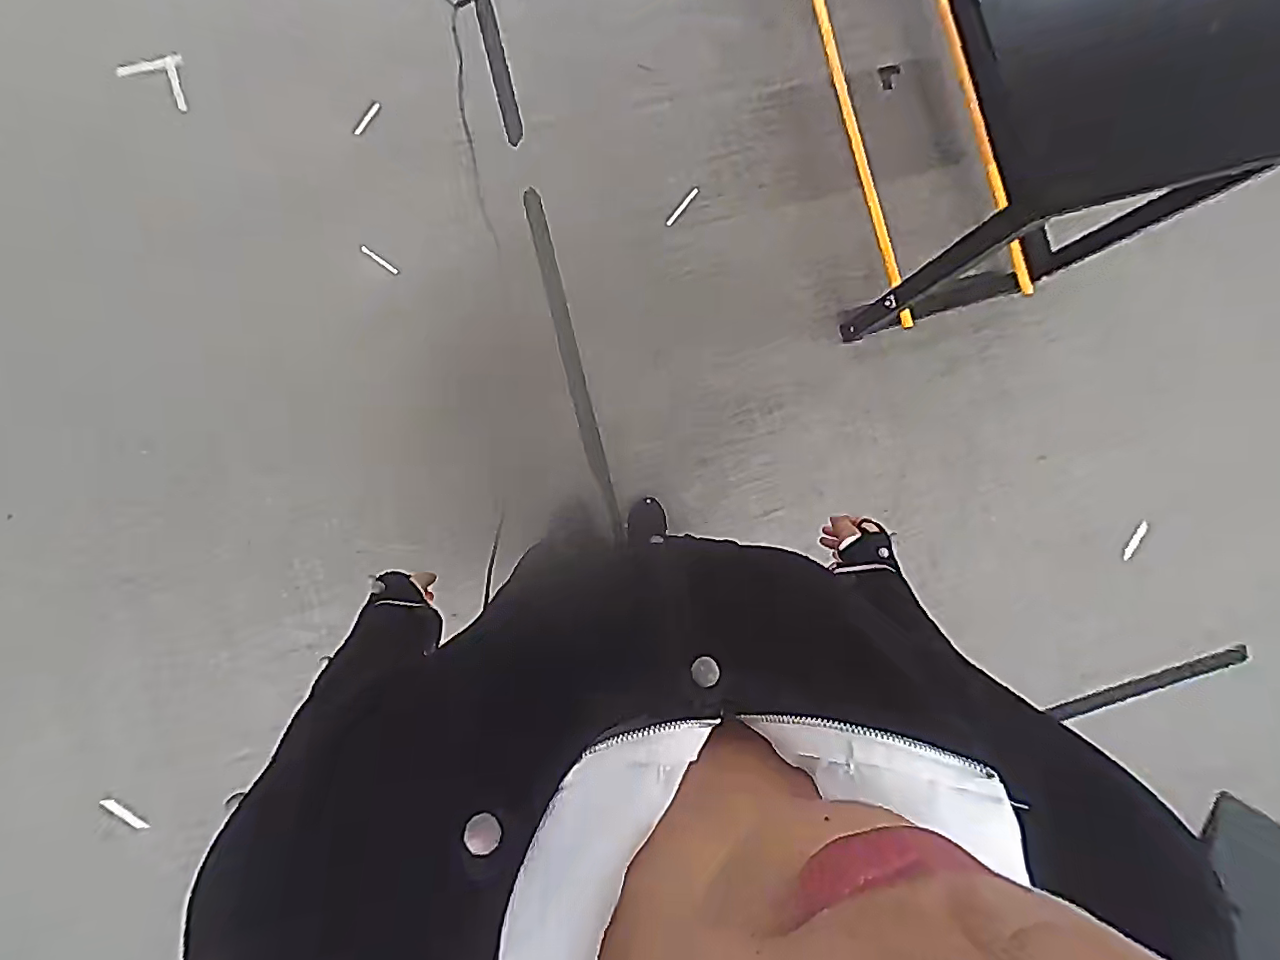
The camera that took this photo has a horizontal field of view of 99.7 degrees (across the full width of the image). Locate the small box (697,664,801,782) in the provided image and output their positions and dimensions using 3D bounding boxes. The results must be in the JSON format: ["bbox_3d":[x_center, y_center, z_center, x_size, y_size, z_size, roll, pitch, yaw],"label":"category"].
[{"bbox_3d":[0.248,0.559,1.266,0.168,0.176,0.179,-19,88,-6],"label":"small box"}]

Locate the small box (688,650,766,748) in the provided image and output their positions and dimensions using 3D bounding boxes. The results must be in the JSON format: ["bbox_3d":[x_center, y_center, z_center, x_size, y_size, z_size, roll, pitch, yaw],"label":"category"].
[{"bbox_3d":[0.242,0.567,1.428,0.179,0.176,0.168,-17,89,-4],"label":"small box"}]
